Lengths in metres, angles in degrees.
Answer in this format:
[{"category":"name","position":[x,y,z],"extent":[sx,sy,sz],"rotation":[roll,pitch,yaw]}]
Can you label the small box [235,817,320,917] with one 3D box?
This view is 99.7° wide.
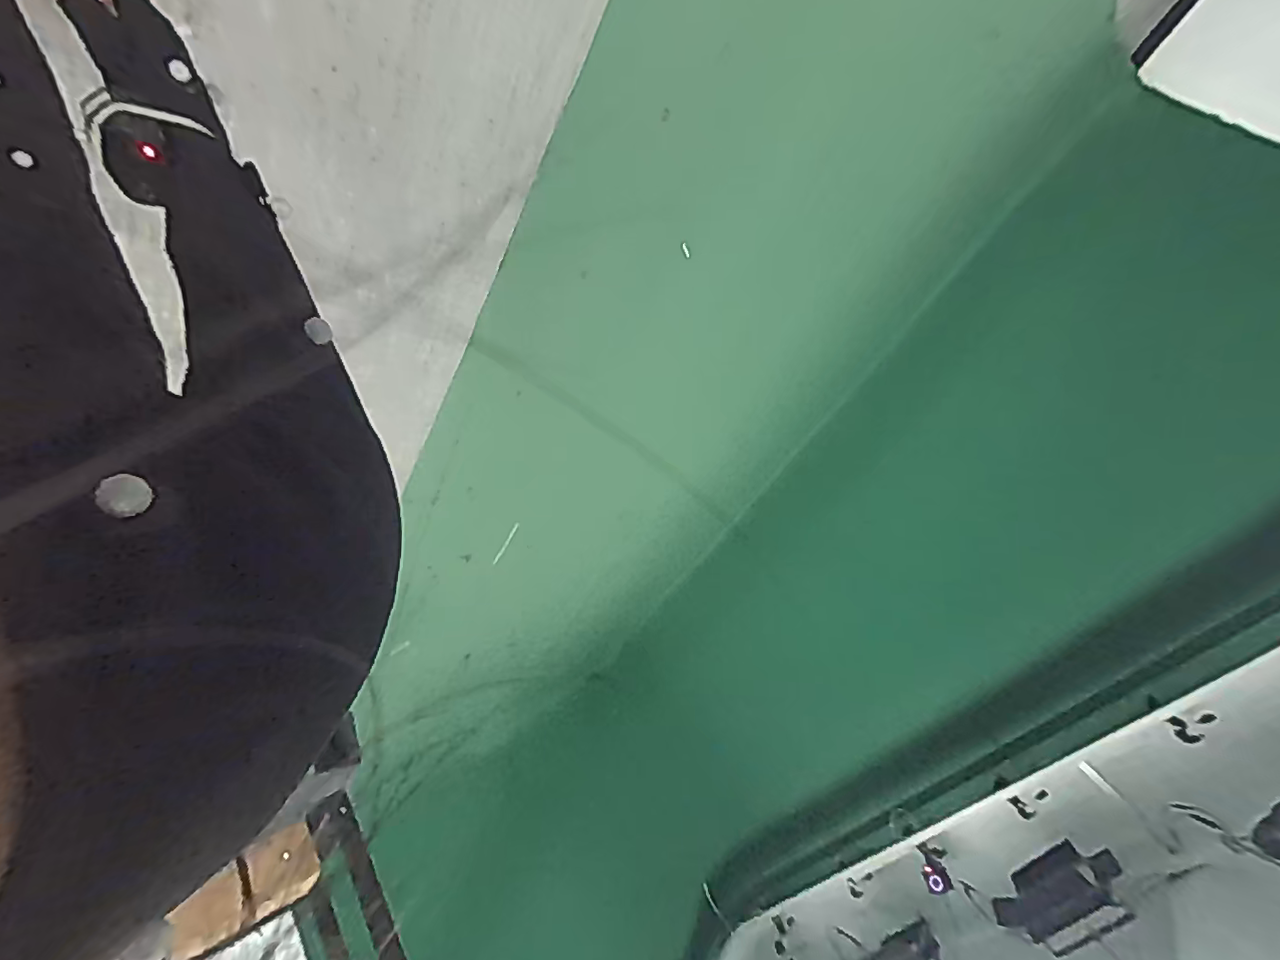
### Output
[{"category":"small box","position":[-1.114,1.174,1.655],"extent":[0.168,0.176,0.179],"rotation":[-3,137,-50]}]
